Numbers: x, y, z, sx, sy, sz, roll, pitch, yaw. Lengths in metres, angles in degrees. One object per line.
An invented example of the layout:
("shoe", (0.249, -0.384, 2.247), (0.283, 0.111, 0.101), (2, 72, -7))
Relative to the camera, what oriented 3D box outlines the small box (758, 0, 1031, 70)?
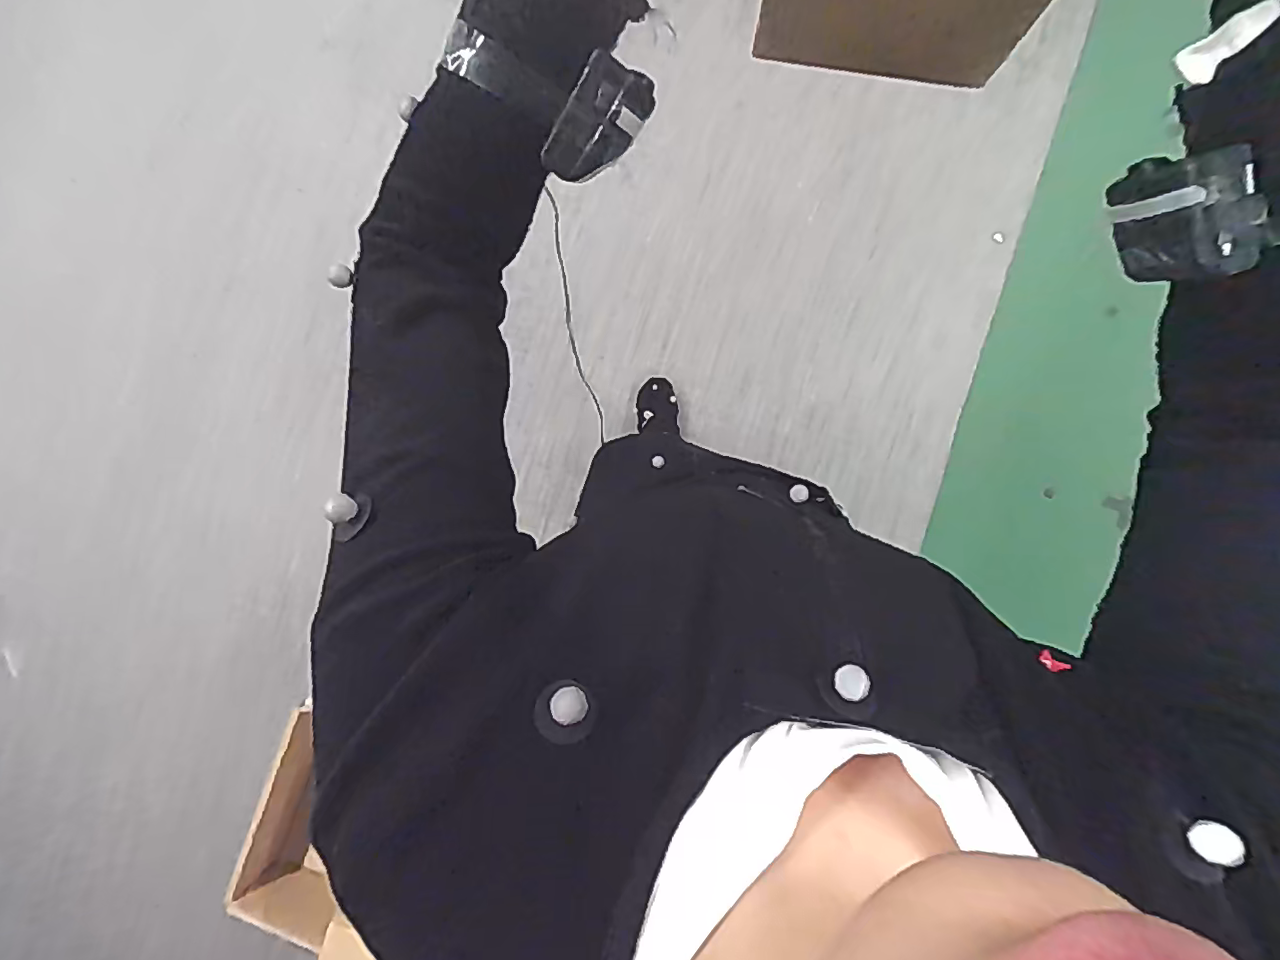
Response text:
("small box", (0.179, -0.391, 0.321), (0.179, 0.176, 0.168), (10, 89, 1))
